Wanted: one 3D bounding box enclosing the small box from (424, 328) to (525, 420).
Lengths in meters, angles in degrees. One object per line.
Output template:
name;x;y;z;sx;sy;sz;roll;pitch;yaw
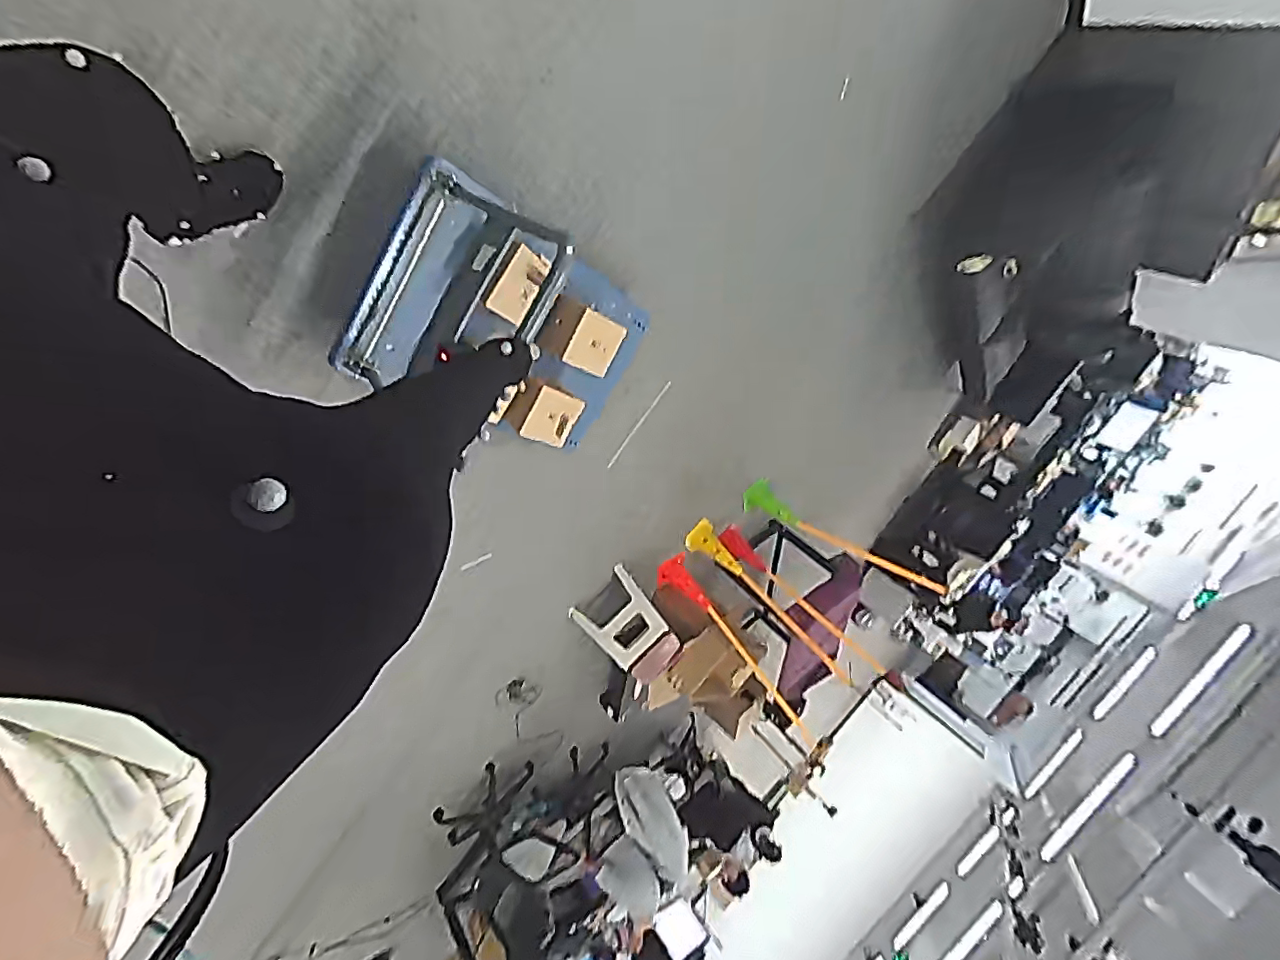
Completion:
small box;-0.459;-0.294;1.492;0.179;0.176;0.168;22;104;-51

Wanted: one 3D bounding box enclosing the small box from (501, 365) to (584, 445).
small box;-0.313;-0.236;1.685;0.179;0.176;0.168;17;108;-50

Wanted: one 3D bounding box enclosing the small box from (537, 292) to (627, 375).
small box;-0.180;-0.448;1.637;0.179;0.176;0.168;14;112;-50
